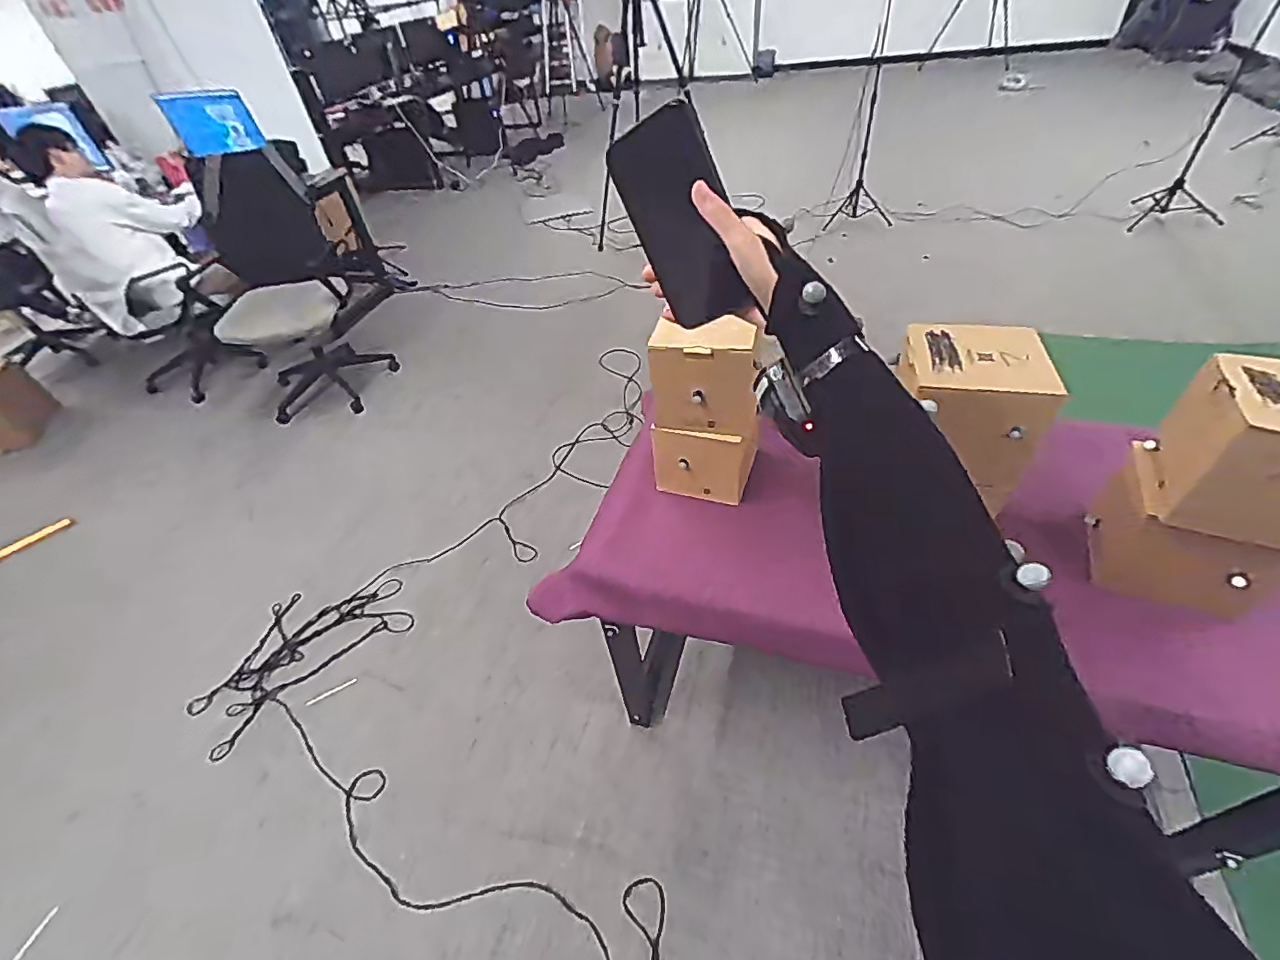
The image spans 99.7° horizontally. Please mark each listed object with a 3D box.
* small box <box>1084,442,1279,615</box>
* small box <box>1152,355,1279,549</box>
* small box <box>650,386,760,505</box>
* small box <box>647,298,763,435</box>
[{"bbox_3d":[0.803,0.074,0.801,0.179,0.176,0.168,15,48,23],"label":"small box"},{"bbox_3d":[0.790,-0.031,0.675,0.179,0.176,0.168,15,48,22],"label":"small box"},{"bbox_3d":[0.133,-0.075,1.052,0.168,0.176,0.179,11,47,19],"label":"small box"},{"bbox_3d":[0.119,-0.198,0.943,0.168,0.176,0.179,7,47,15],"label":"small box"}]
